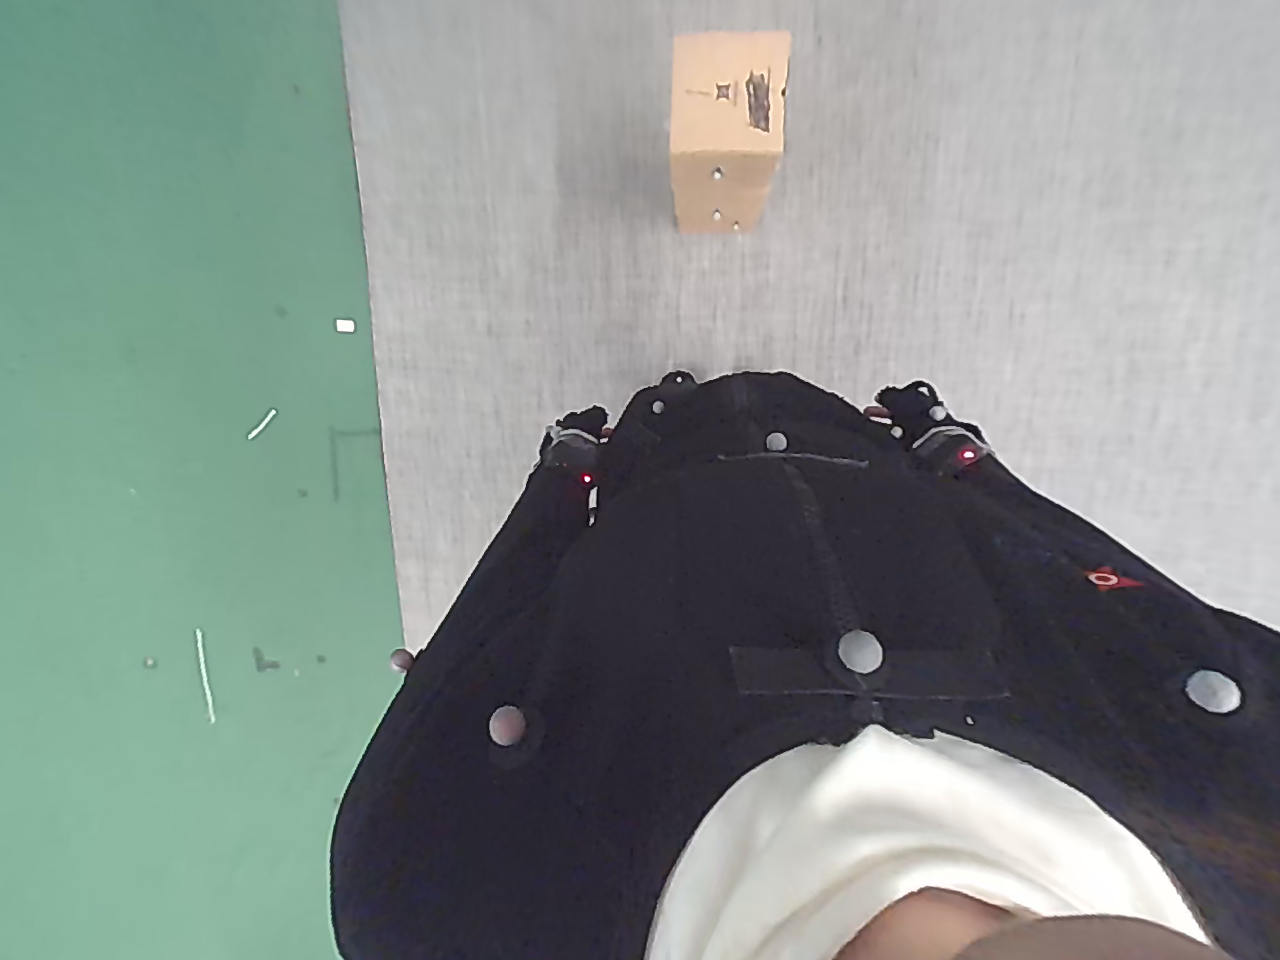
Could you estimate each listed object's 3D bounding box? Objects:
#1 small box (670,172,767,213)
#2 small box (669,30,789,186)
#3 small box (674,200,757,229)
[{"bbox_3d":[0.154,-0.634,1.056,0.179,0.176,0.168,5,102,3],"label":"small box"},{"bbox_3d":[0.137,-0.602,0.895,0.179,0.176,0.168,0,102,3],"label":"small box"},{"bbox_3d":[0.168,-0.674,1.214,0.179,0.176,0.168,1,101,6],"label":"small box"}]
